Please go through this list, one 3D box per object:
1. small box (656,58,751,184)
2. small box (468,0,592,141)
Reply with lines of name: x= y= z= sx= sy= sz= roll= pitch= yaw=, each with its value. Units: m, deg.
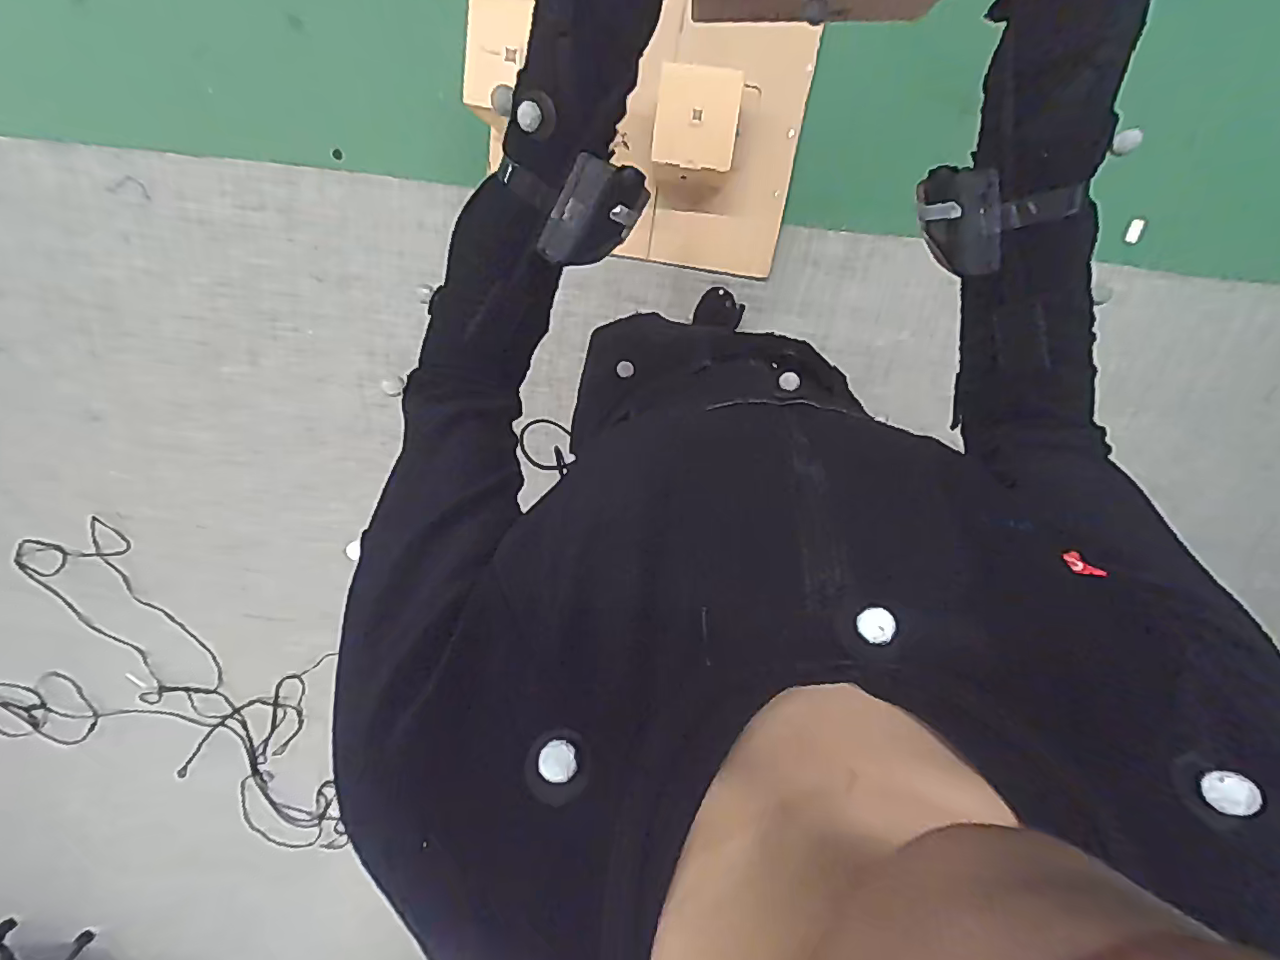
small box: x=0.128 y=-0.744 z=1.138 sx=0.168 sy=0.176 sz=0.179 roll=8 pitch=110 yaw=2
small box: x=-0.193 y=-0.742 z=0.987 sx=0.179 sy=0.176 sz=0.168 roll=13 pitch=110 yaw=3
